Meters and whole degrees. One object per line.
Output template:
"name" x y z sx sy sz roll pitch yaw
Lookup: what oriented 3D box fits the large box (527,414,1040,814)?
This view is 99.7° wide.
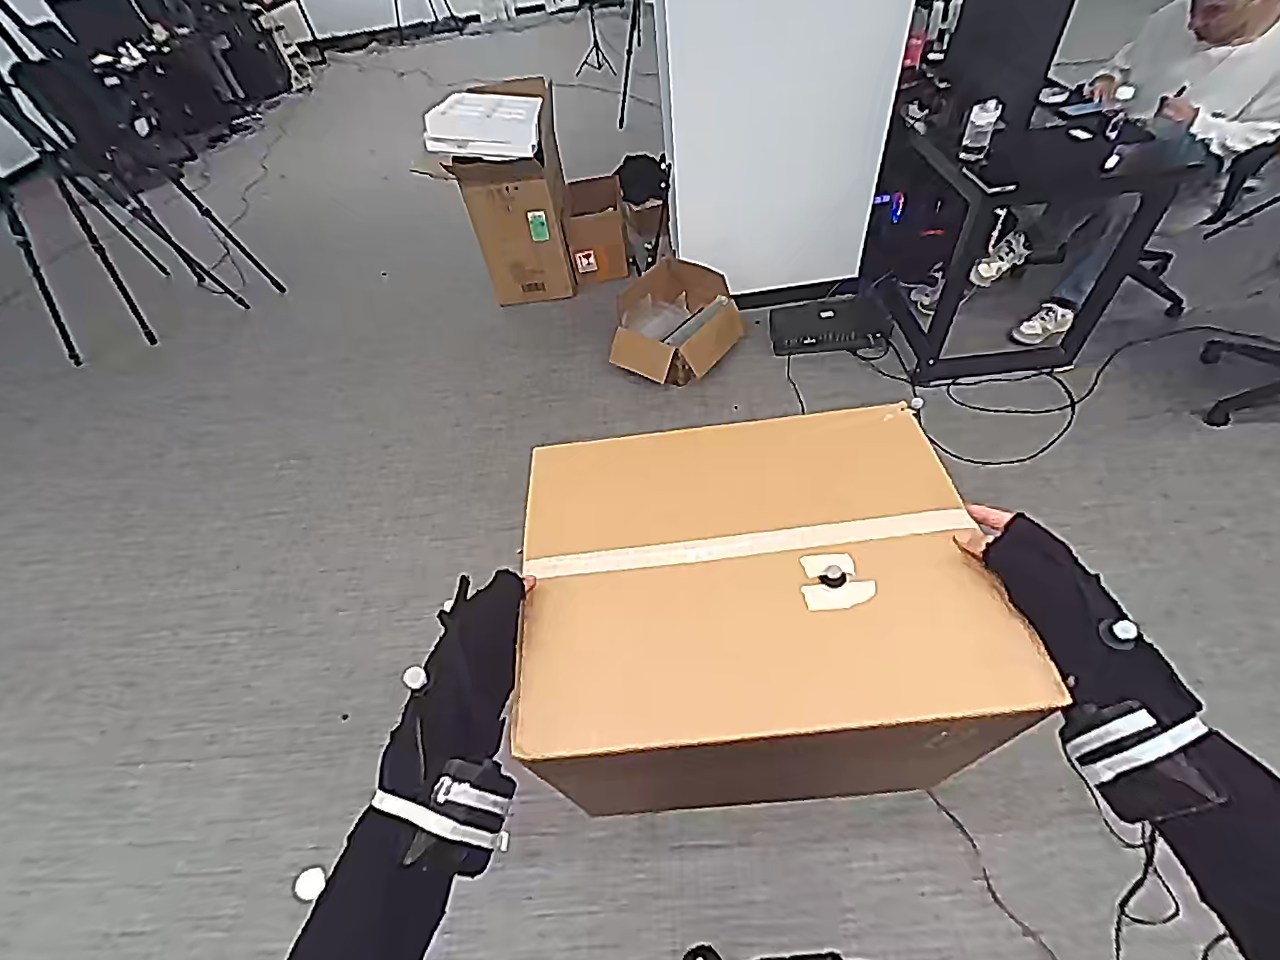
"large box" 0.109 0.162 0.619 0.408 0.320 0.320 -7 51 2
